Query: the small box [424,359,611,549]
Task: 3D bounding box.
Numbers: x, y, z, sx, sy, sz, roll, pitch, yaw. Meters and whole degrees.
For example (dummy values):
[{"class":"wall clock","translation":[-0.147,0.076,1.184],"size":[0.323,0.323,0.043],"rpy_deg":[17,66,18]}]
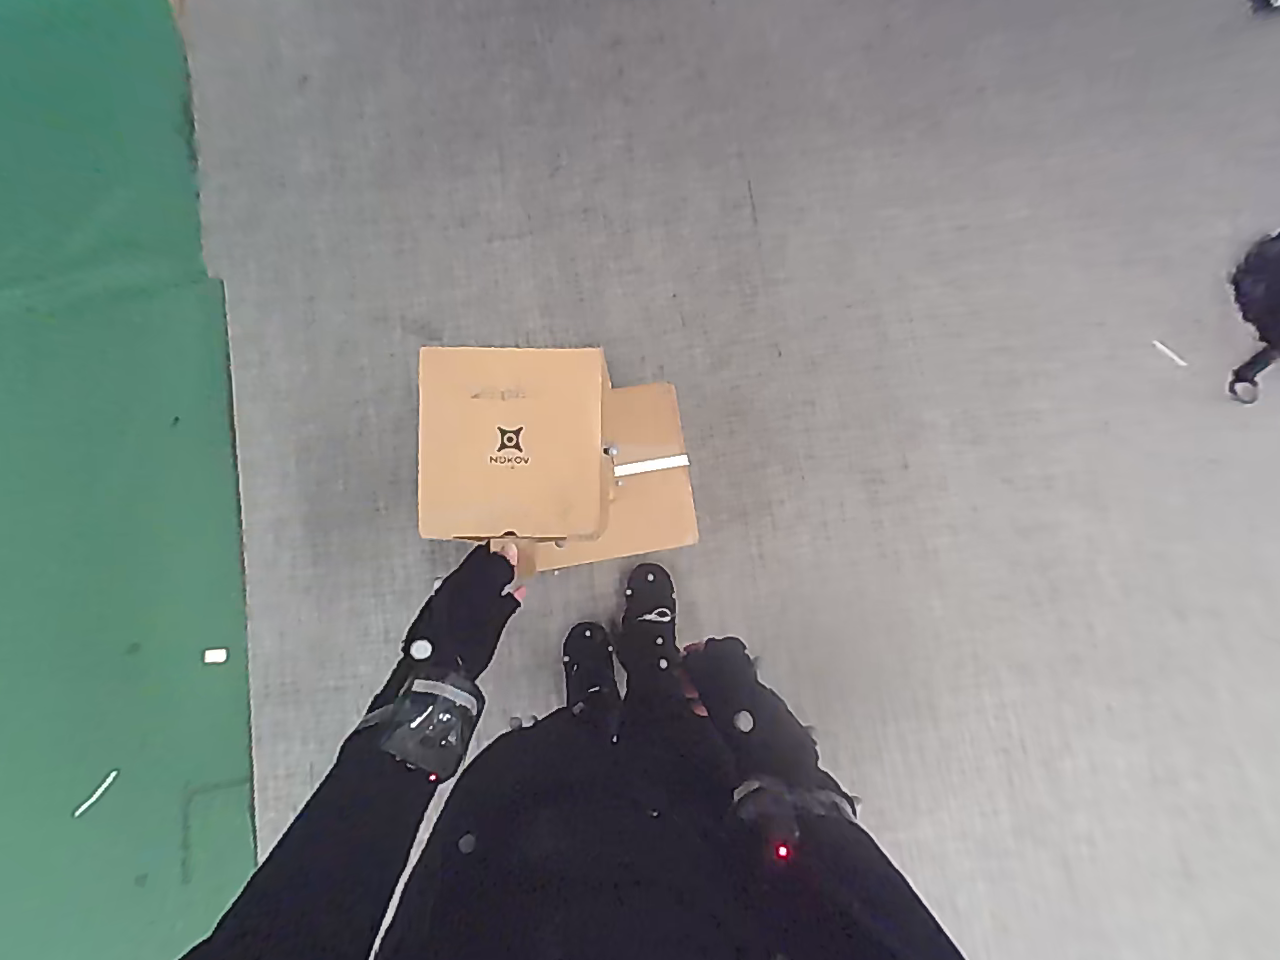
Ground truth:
[{"class":"small box","translation":[-0.116,-0.025,0.574],"size":[0.168,0.176,0.179],"rpy_deg":[-1,89,-1]}]
